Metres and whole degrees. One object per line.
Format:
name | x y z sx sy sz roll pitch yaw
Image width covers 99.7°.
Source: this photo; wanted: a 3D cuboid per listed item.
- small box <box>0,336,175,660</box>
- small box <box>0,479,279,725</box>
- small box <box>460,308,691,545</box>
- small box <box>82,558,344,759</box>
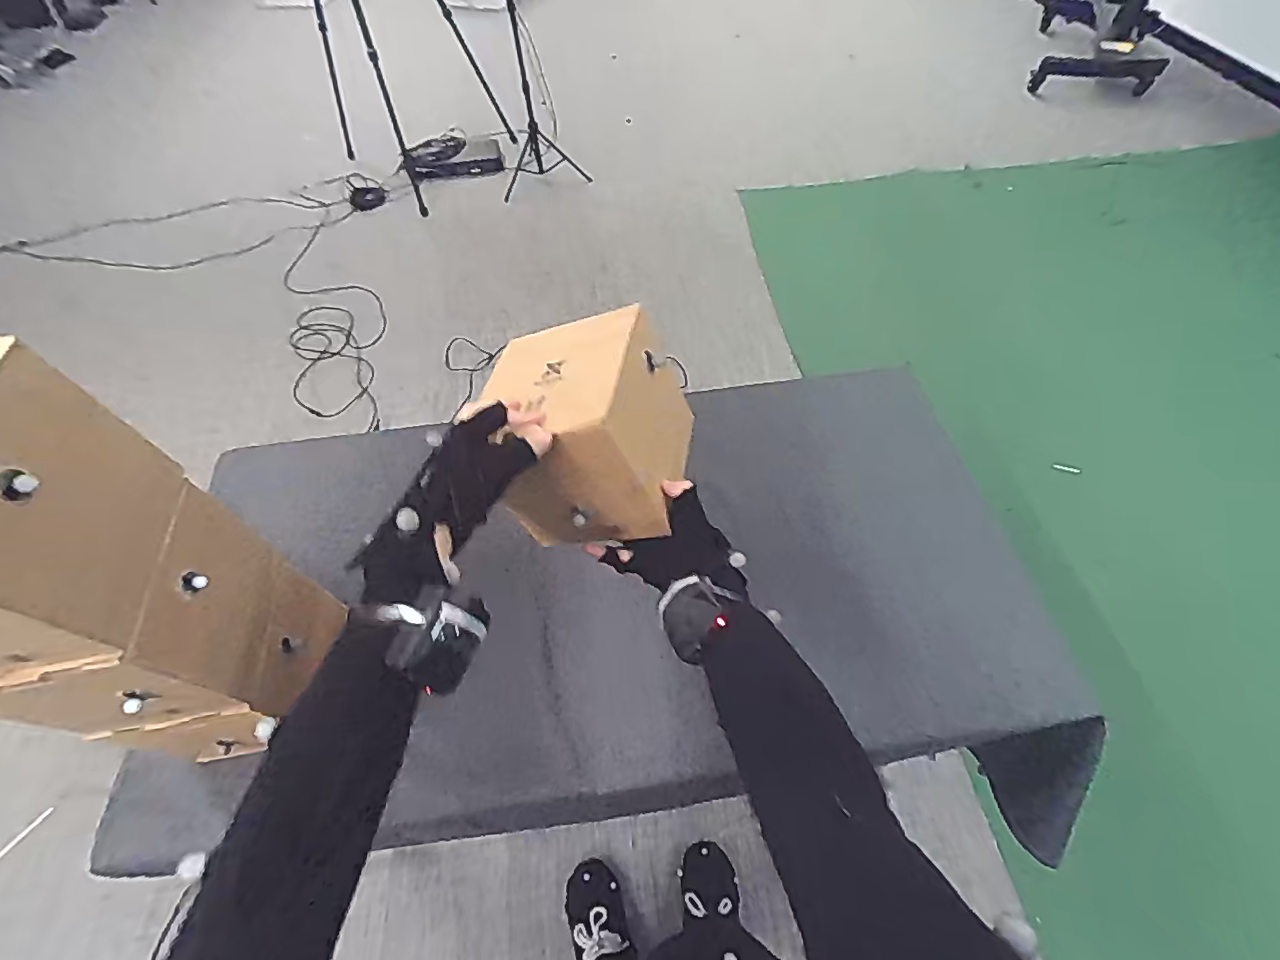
small box | -0.491 0.028 0.387 0.168 0.176 0.179 -9 56 -6
small box | -0.487 0.125 0.519 0.168 0.176 0.179 -8 56 -4
small box | -0.052 -0.049 0.582 0.168 0.176 0.179 -7 50 25
small box | -0.484 0.218 0.652 0.168 0.176 0.179 -9 57 -4
